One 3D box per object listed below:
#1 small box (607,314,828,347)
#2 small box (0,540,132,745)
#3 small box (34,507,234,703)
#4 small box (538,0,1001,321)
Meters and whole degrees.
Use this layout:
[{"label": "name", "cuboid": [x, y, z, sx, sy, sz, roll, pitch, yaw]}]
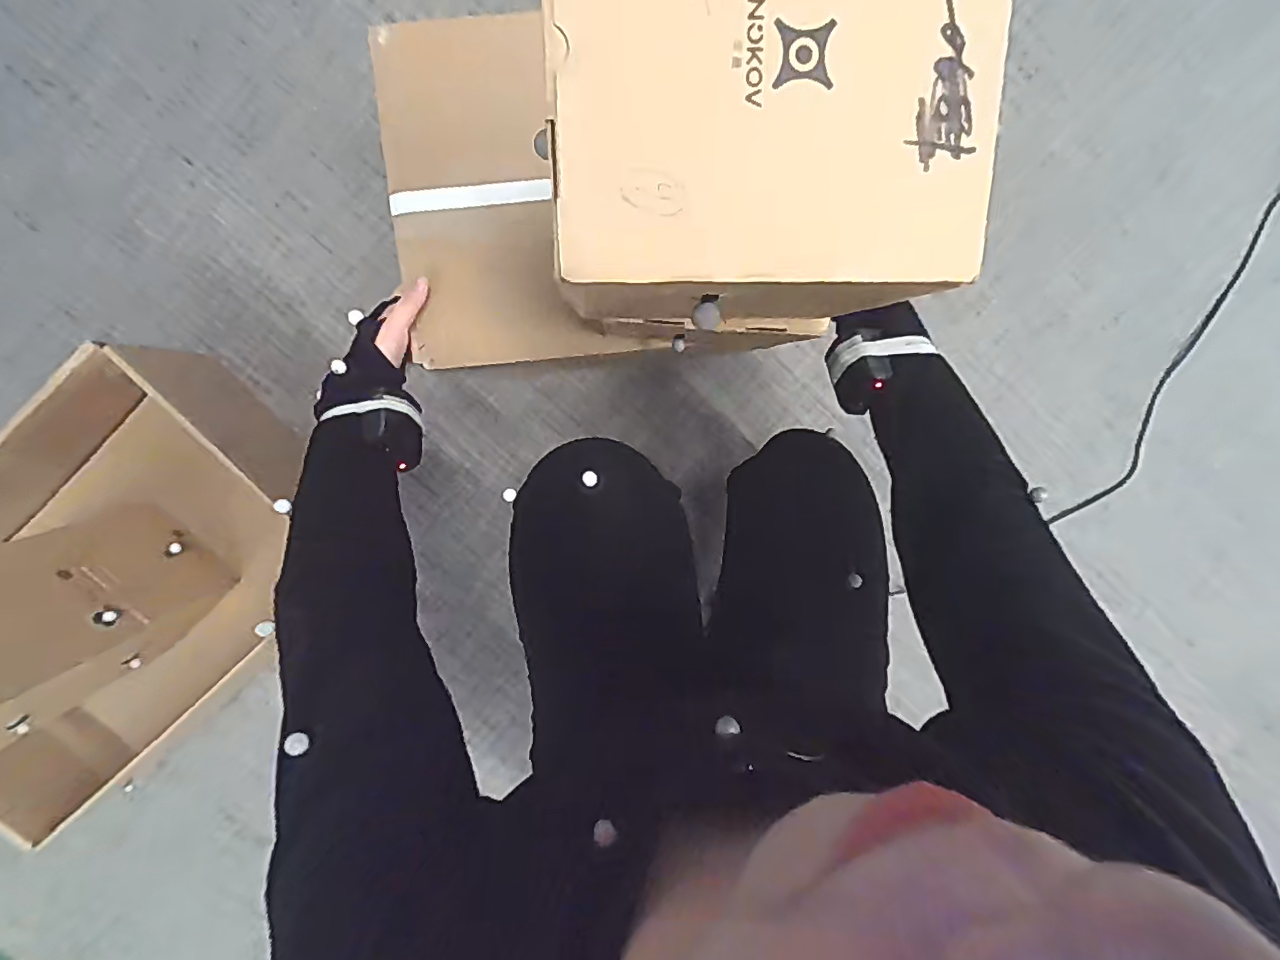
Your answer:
[{"label": "small box", "cuboid": [0.055, -0.207, 0.445, 0.168, 0.176, 0.179, 4, 102, -3]}, {"label": "small box", "cuboid": [-0.720, 0.191, 0.583, 0.179, 0.176, 0.168, -41, 98, 6]}, {"label": "small box", "cuboid": [-0.725, 0.162, 0.745, 0.179, 0.176, 0.168, -42, 99, 5]}, {"label": "small box", "cuboid": [0.048, -0.175, 0.284, 0.179, 0.176, 0.168, 0, 102, -1]}]
